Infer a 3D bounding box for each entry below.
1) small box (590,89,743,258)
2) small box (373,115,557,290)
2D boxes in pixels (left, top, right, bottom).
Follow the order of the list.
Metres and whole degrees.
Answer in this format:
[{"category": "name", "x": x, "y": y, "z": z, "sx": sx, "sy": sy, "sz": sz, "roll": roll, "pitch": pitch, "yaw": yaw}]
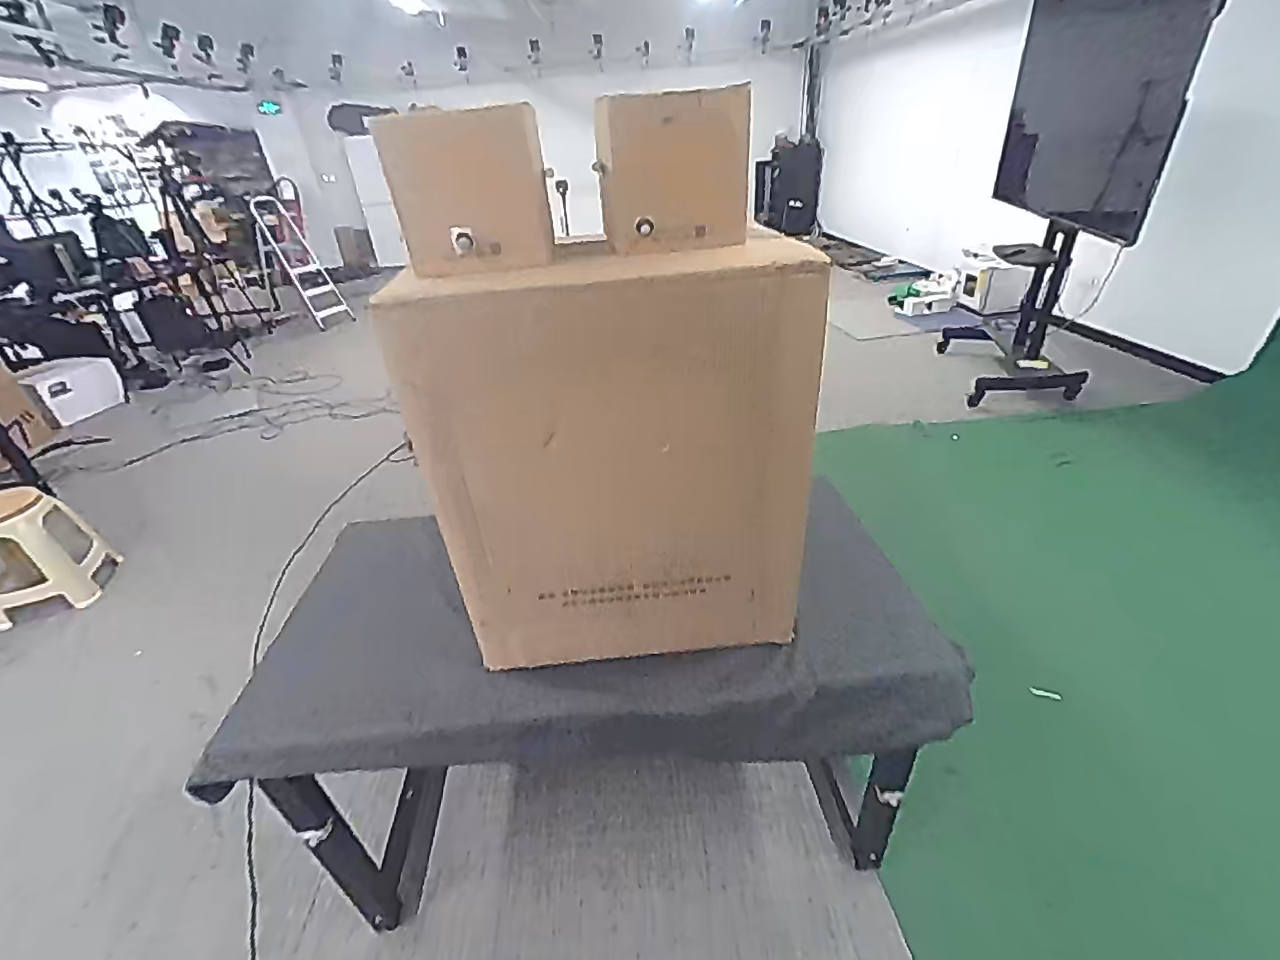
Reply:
[{"category": "small box", "x": 0.033, "y": -0.396, "z": 0.709, "sx": 0.168, "sy": 0.176, "sz": 0.179, "roll": -9, "pitch": 33, "yaw": -6}, {"category": "small box", "x": -0.205, "y": -0.354, "z": 0.690, "sx": 0.168, "sy": 0.176, "sz": 0.179, "roll": -9, "pitch": 35, "yaw": -1}]
